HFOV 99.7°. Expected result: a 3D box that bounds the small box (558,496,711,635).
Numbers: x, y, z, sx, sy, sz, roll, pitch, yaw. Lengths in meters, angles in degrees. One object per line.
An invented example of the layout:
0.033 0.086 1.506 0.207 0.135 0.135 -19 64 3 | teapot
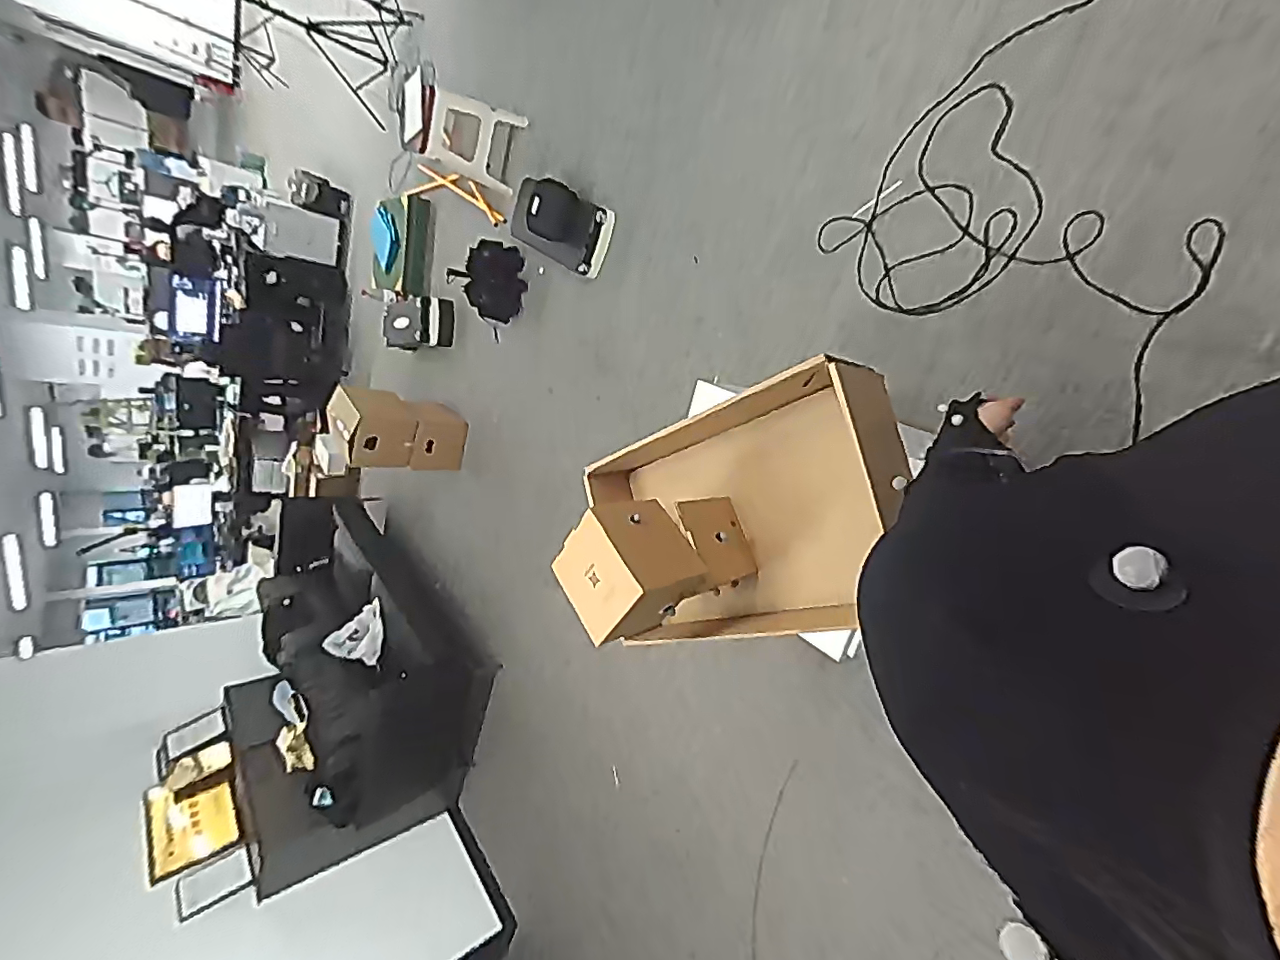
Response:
-0.011 0.142 0.966 0.179 0.176 0.168 53 128 26 | small box
